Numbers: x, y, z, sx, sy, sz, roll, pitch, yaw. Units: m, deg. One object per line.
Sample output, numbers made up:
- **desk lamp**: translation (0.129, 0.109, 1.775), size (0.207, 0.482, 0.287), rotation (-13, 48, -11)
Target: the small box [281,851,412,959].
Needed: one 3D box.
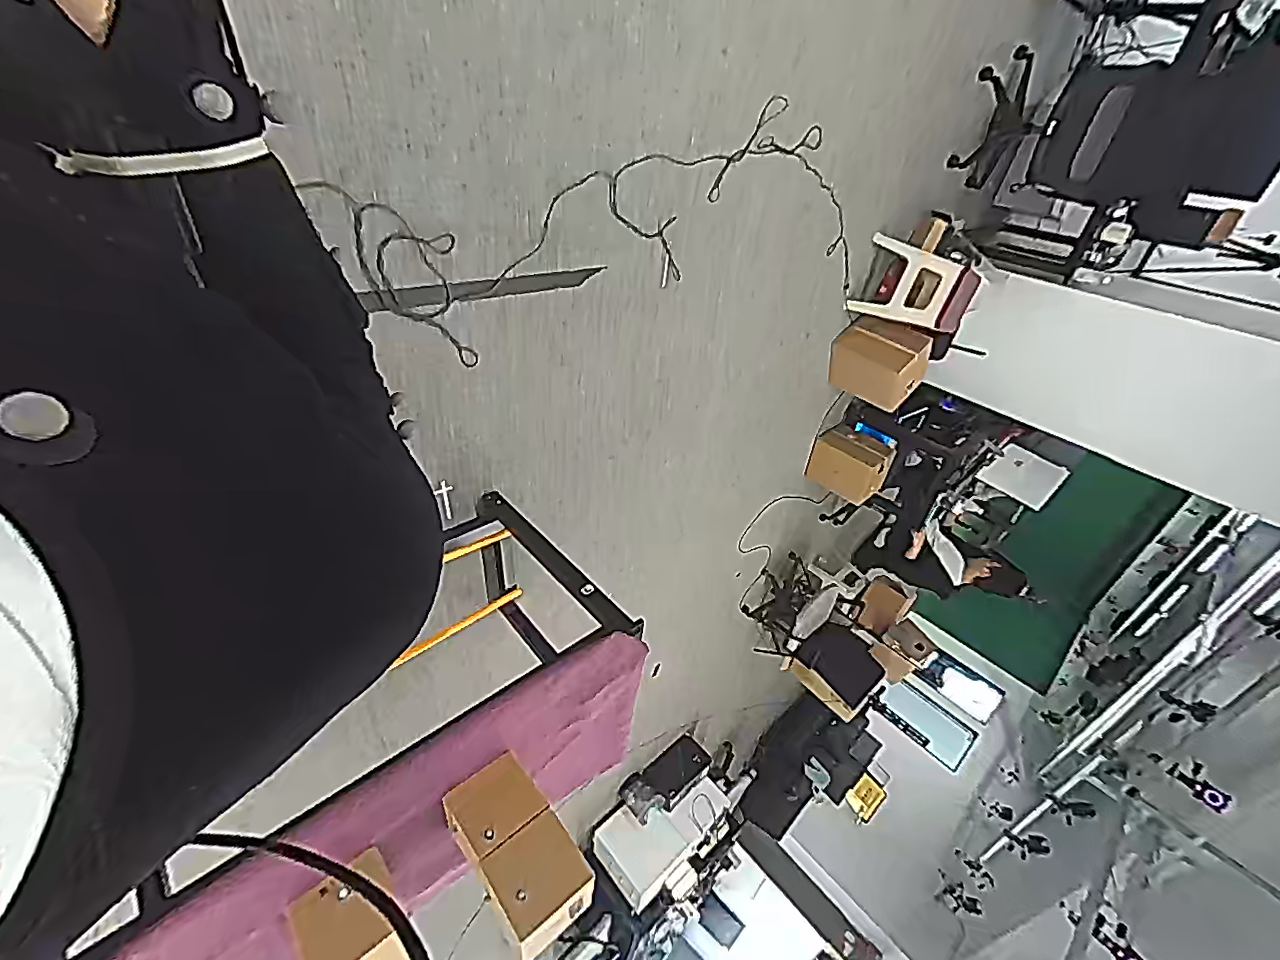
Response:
- **small box**: translation (-0.563, 0.872, 1.045), size (0.168, 0.176, 0.179), rotation (-23, 135, -38)

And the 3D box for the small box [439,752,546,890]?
- **small box**: translation (-0.334, 0.765, 1.232), size (0.179, 0.176, 0.168), rotation (-24, 136, -36)
